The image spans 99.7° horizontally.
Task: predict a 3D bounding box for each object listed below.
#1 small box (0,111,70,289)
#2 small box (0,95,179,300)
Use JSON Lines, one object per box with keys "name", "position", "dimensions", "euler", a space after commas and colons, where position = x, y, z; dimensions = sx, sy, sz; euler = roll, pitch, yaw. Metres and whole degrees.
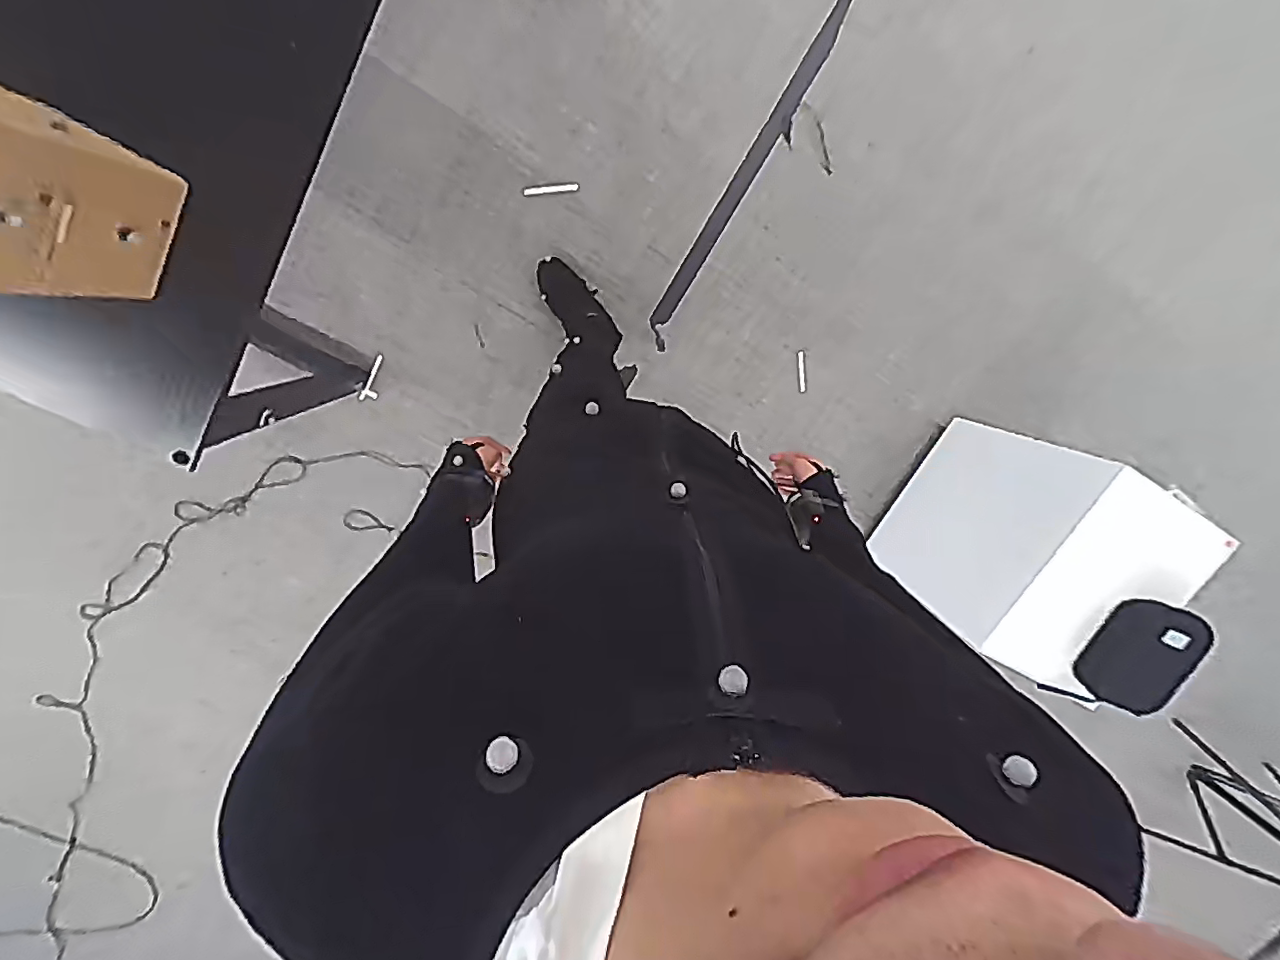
{"name": "small box", "position": [-0.672, -0.277, 0.460], "dimensions": [0.179, 0.176, 0.168], "euler": [27, 103, -14]}
{"name": "small box", "position": [-0.689, -0.323, 0.617], "dimensions": [0.179, 0.176, 0.168], "euler": [26, 102, -14]}
